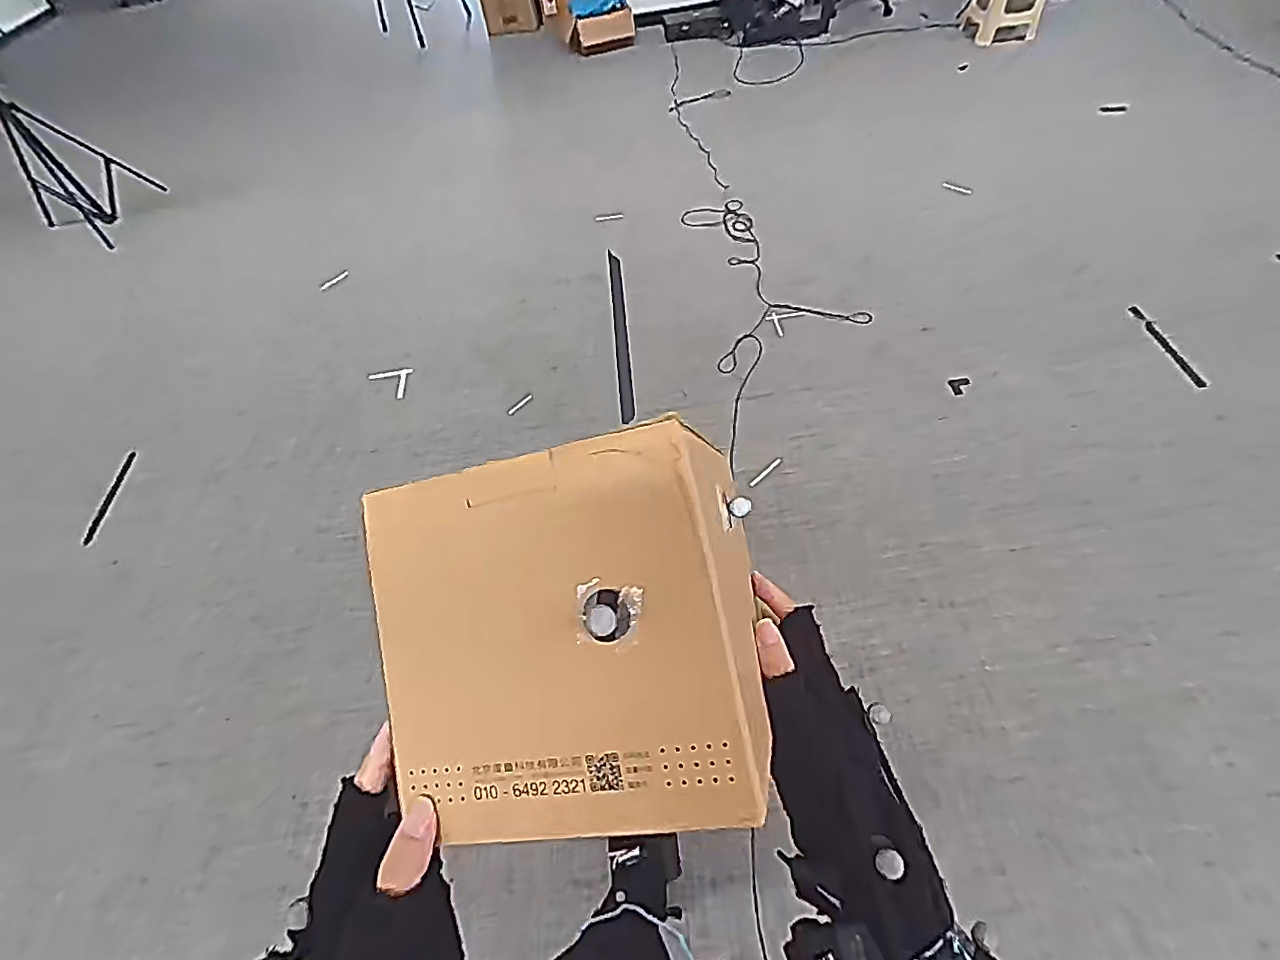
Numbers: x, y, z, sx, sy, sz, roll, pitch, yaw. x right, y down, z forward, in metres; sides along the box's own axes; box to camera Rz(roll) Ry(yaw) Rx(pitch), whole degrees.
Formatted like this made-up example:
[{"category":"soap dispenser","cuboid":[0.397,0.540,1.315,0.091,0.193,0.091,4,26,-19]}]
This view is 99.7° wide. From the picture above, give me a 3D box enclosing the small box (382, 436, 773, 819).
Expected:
[{"category":"small box","cuboid":[-0.020,0.083,0.333,0.168,0.179,0.176,-13,83,17]}]
